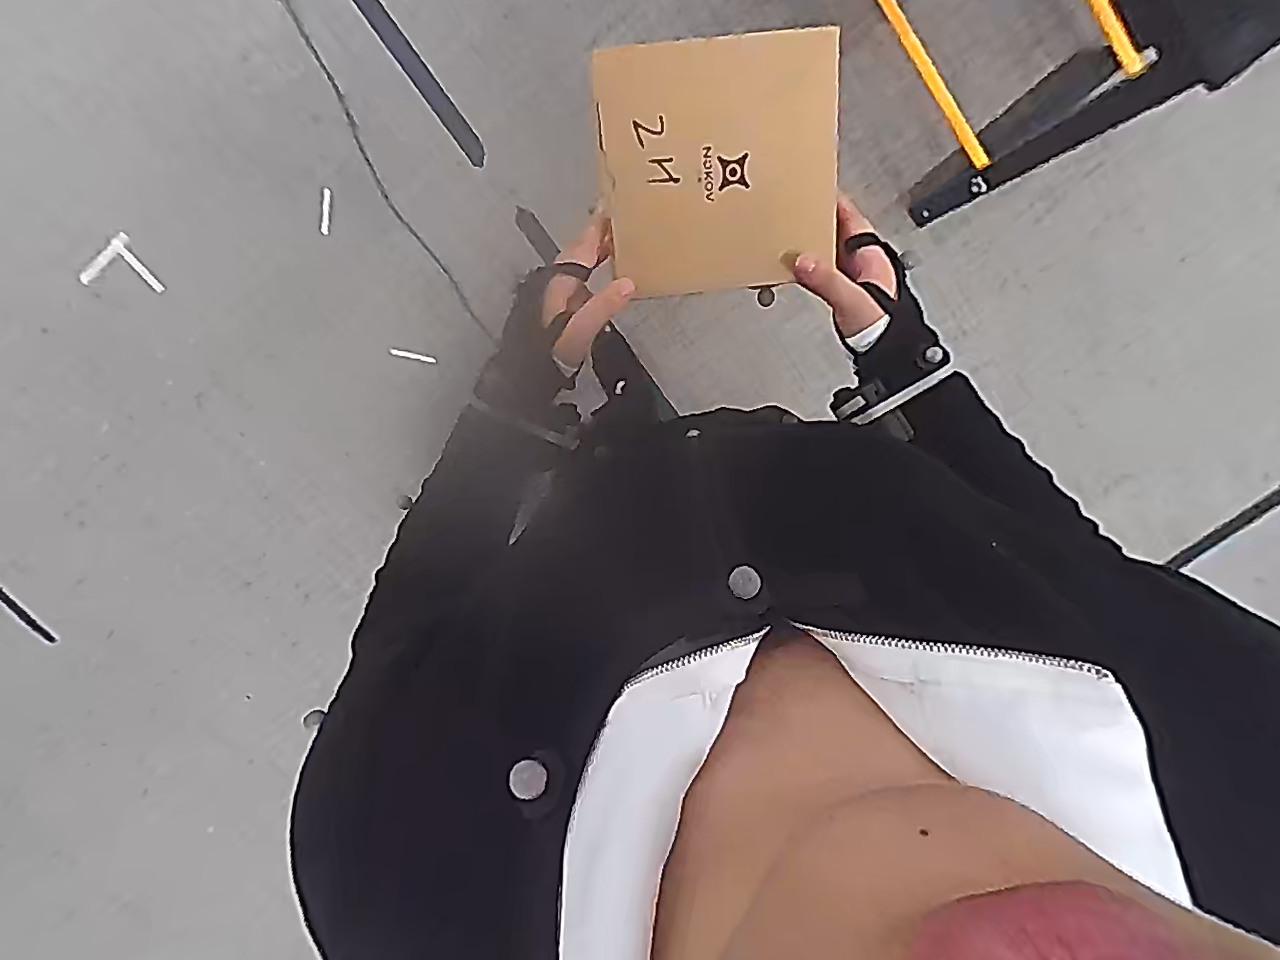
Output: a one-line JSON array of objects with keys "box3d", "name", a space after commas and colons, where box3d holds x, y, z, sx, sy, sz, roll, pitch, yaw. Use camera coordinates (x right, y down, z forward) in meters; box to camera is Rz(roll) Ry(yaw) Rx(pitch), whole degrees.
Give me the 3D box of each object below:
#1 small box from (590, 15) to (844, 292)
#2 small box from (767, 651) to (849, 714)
[{"box3d": [0.052, -0.256, 0.462, 0.179, 0.176, 0.168, -6, 109, -2], "name": "small box"}, {"box3d": [0.486, 0.611, 1.528, 0.168, 0.176, 0.179, -40, 98, 8], "name": "small box"}]
